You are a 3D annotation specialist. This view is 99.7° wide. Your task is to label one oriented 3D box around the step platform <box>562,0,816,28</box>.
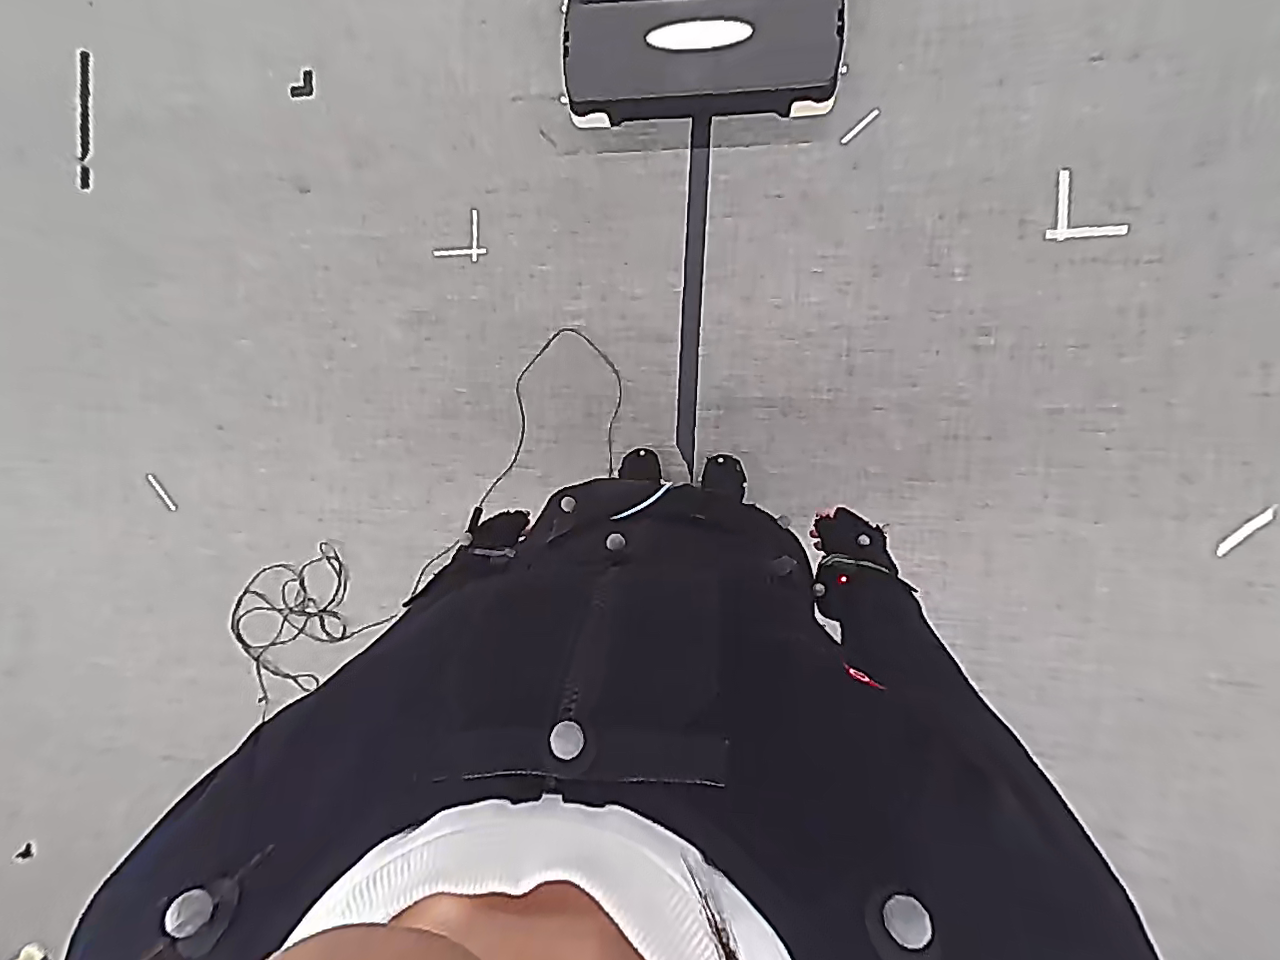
[{"bbox_3d":[0.124,-1.308,1.268,0.684,0.204,0.286,1,94,7],"label":"step platform"}]
